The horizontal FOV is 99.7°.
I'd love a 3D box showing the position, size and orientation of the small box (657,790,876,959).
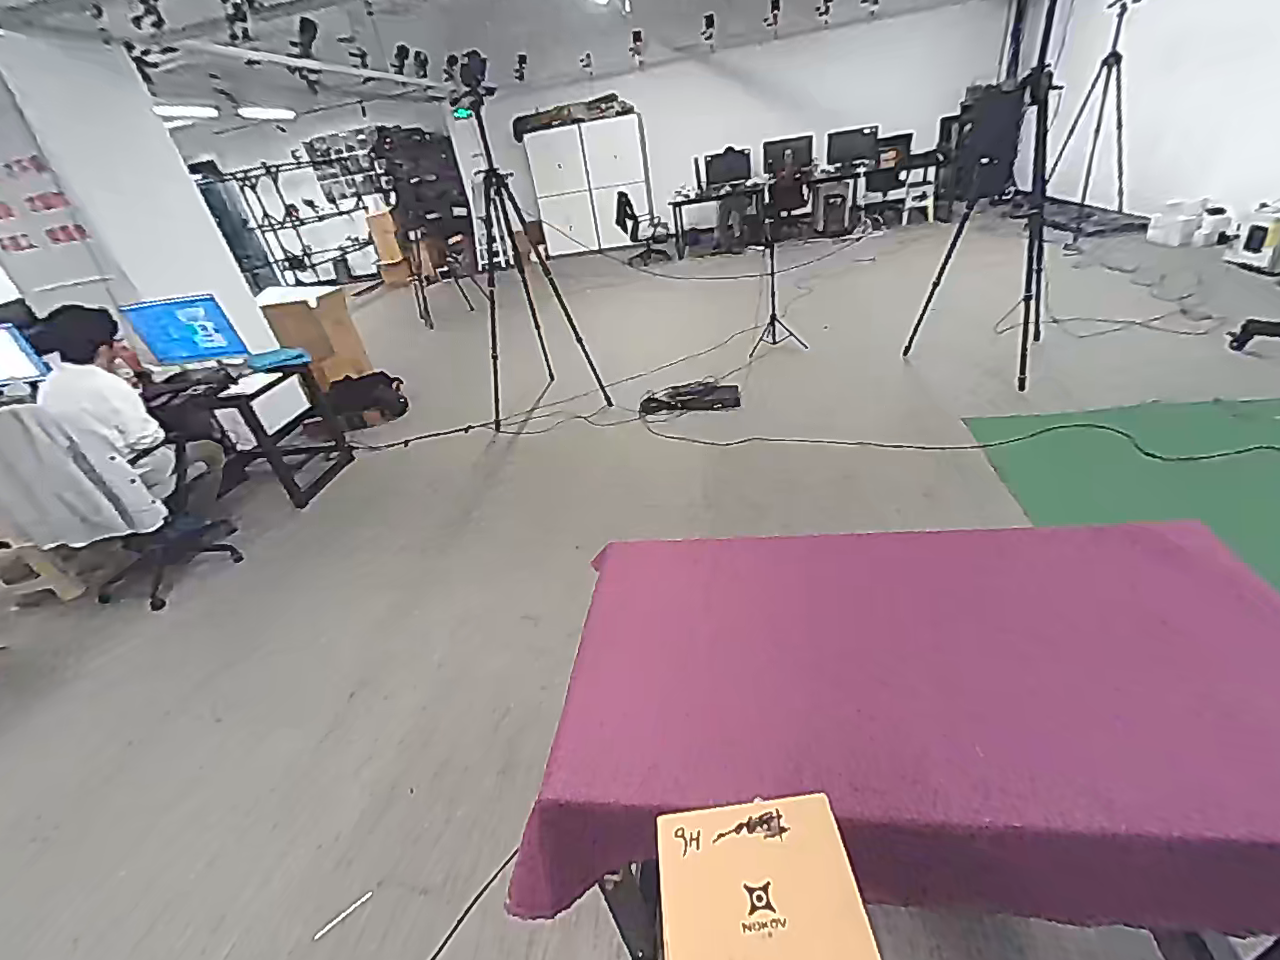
[{"bbox_3d":[0.114,0.421,0.488,0.168,0.176,0.179,-11,30,4],"label":"small box"}]
